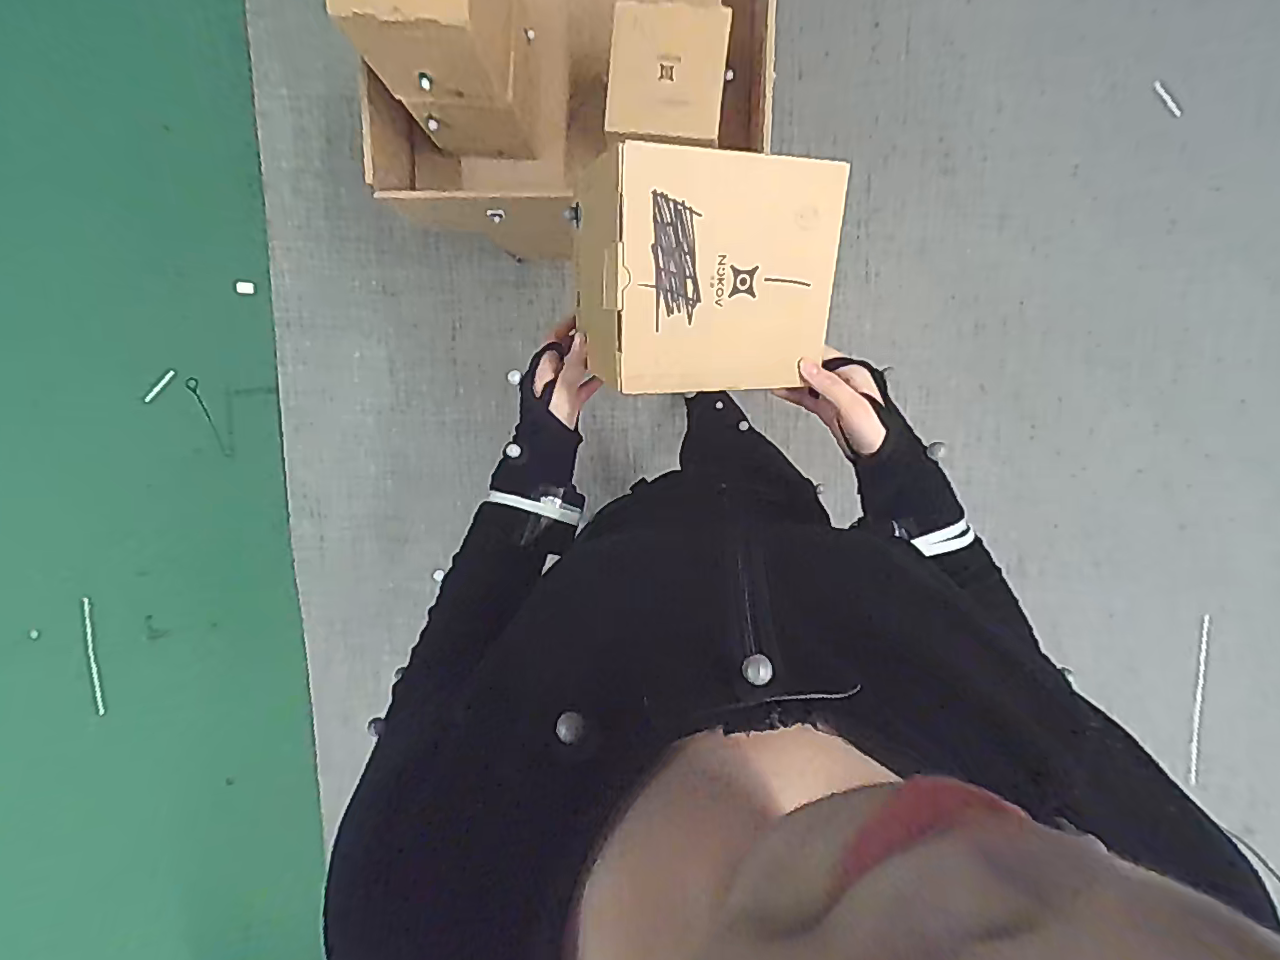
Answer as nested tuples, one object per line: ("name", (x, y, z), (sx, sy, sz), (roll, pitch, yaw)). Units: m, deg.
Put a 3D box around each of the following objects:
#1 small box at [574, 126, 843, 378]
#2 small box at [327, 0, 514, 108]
("small box", (0.040, -0.184, 0.467), (0.179, 0.176, 0.168), (-5, 112, -17))
("small box", (-0.265, -0.621, 0.688), (0.168, 0.176, 0.179), (6, 97, 2))
